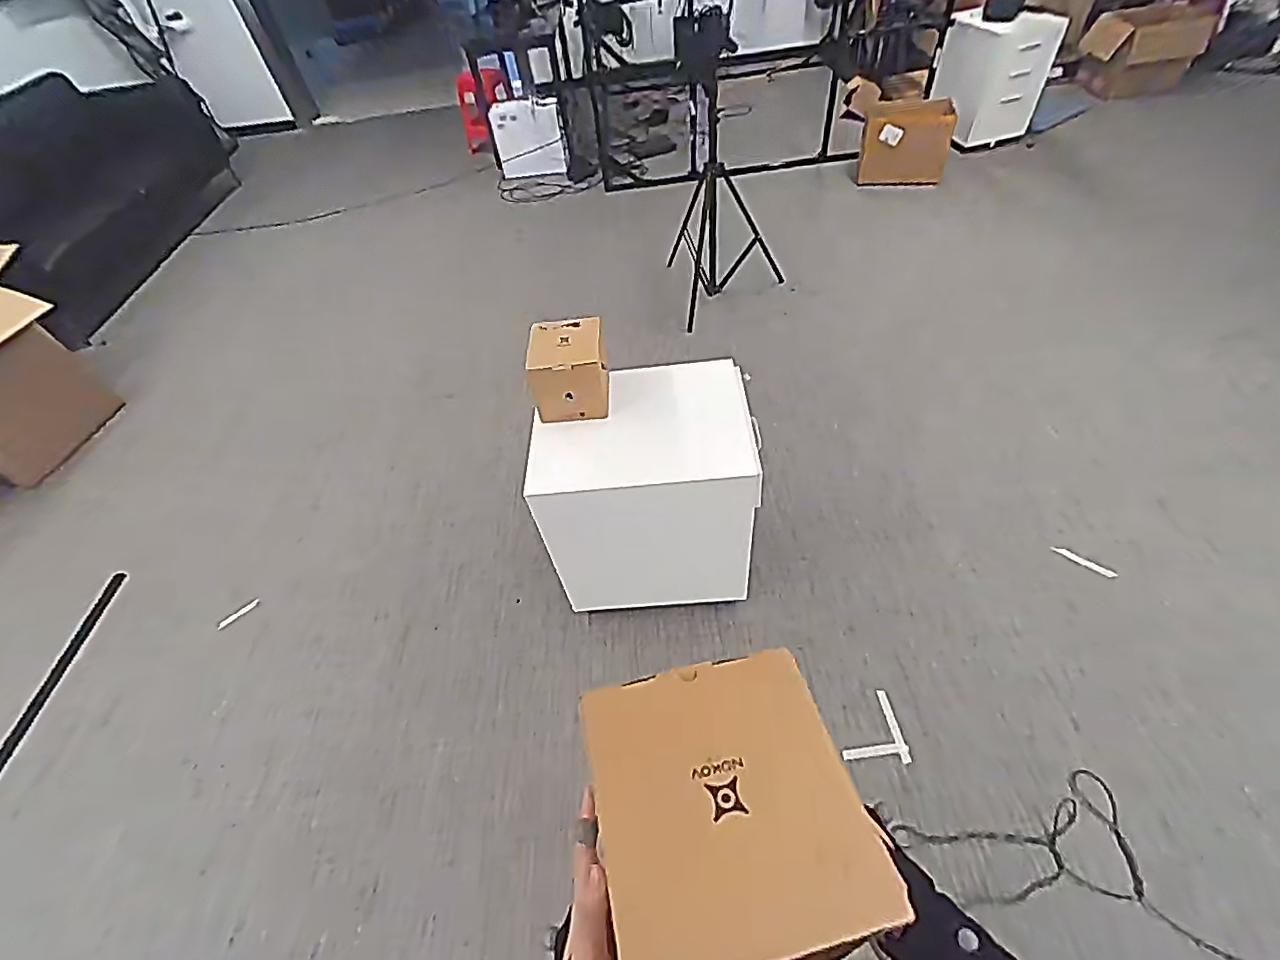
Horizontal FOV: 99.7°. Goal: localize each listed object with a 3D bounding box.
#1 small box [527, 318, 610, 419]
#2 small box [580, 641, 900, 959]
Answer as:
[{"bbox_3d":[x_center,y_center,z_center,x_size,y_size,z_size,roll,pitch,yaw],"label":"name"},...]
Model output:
[{"bbox_3d":[-0.163,-0.260,1.297,0.168,0.176,0.179,-4,52,3],"label":"small box"},{"bbox_3d":[0.055,0.256,0.408,0.168,0.176,0.179,-10,42,-9],"label":"small box"}]
